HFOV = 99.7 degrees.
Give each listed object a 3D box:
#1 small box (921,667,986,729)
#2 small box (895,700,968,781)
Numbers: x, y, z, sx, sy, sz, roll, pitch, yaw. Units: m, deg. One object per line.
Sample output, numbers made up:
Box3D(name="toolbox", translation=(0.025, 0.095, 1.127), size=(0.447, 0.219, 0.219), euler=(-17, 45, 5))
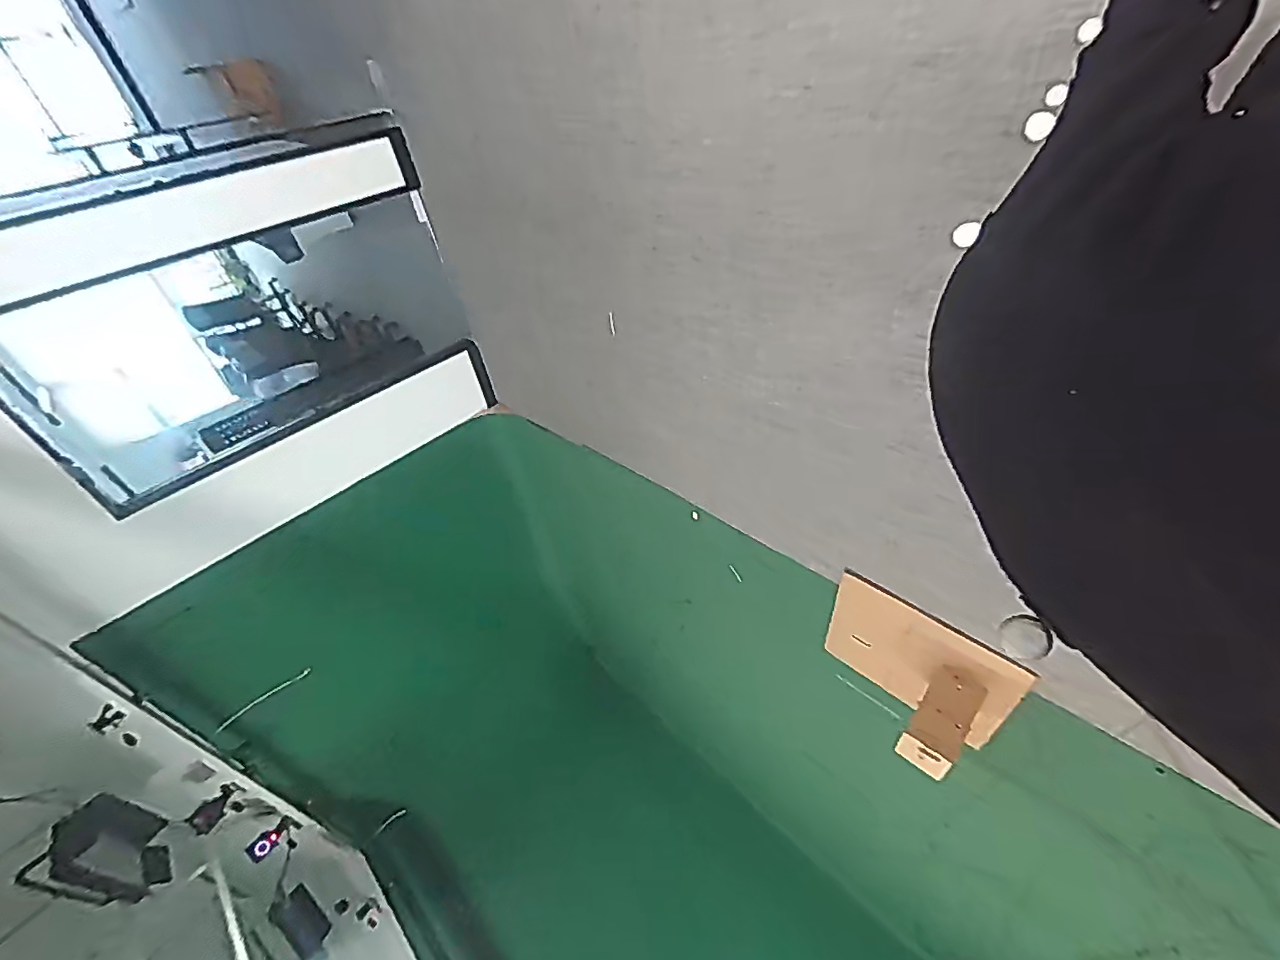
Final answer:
Box3D(name="small box", translation=(1.167, 0.845, 2.033), size=(0.168, 0.176, 0.179), euler=(28, 143, 34))
Box3D(name="small box", translation=(1.056, 0.934, 1.953), size=(0.168, 0.176, 0.179), euler=(30, 145, 33))
